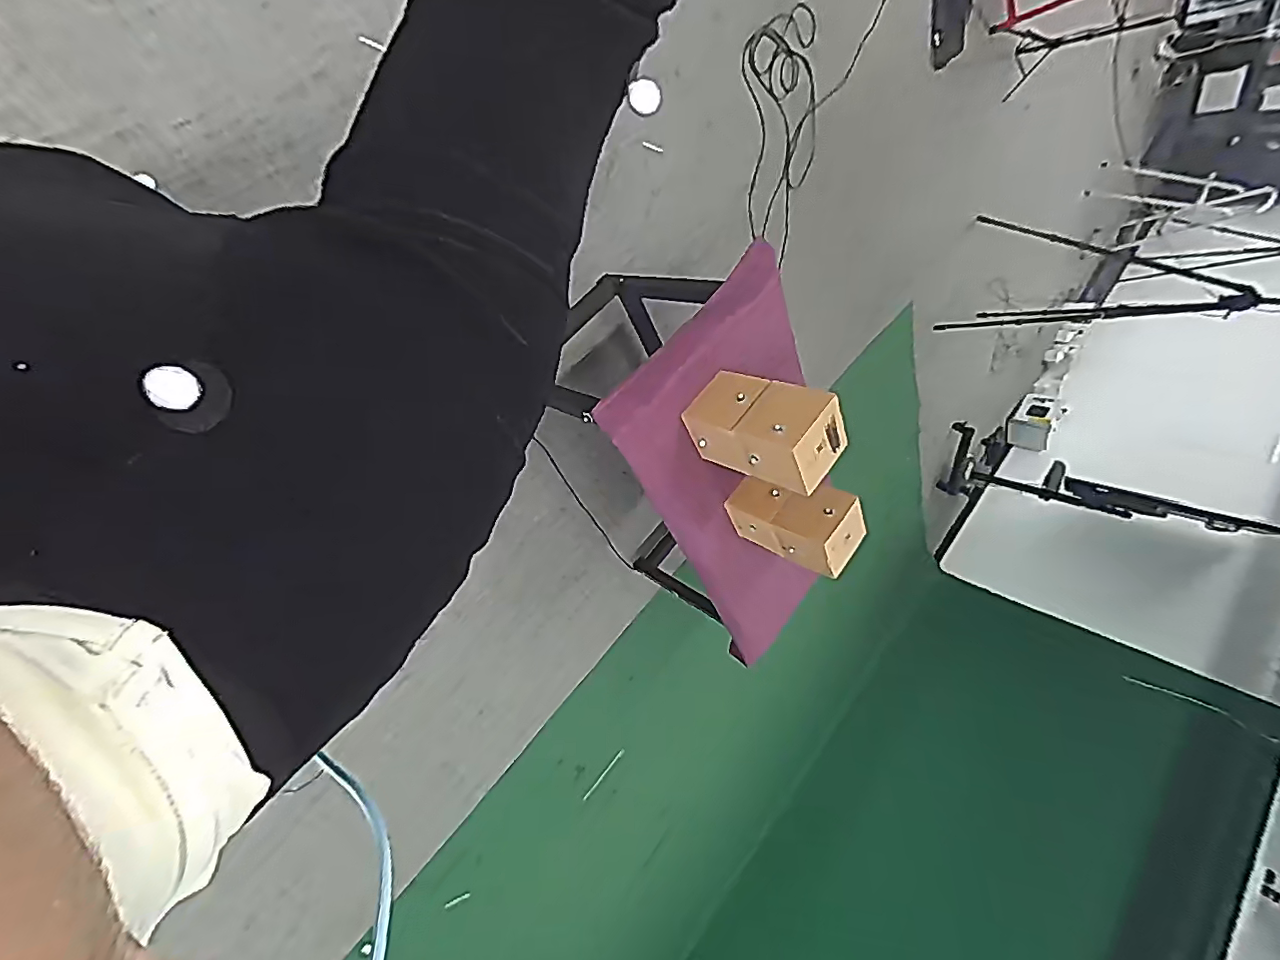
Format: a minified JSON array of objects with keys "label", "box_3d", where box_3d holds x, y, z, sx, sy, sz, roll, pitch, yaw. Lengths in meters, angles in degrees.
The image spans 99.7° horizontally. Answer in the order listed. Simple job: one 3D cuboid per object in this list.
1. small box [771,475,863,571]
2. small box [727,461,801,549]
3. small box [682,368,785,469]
[{"label":"small box","box_3d":[0.492,0.113,1.502,0.179,0.176,0.168,-48,133,-18]},{"label":"small box","box_3d":[0.379,0.069,1.613,0.179,0.176,0.168,-50,134,-18]},{"label":"small box","box_3d":[0.238,-0.162,1.375,0.179,0.176,0.168,-49,134,-17]}]
